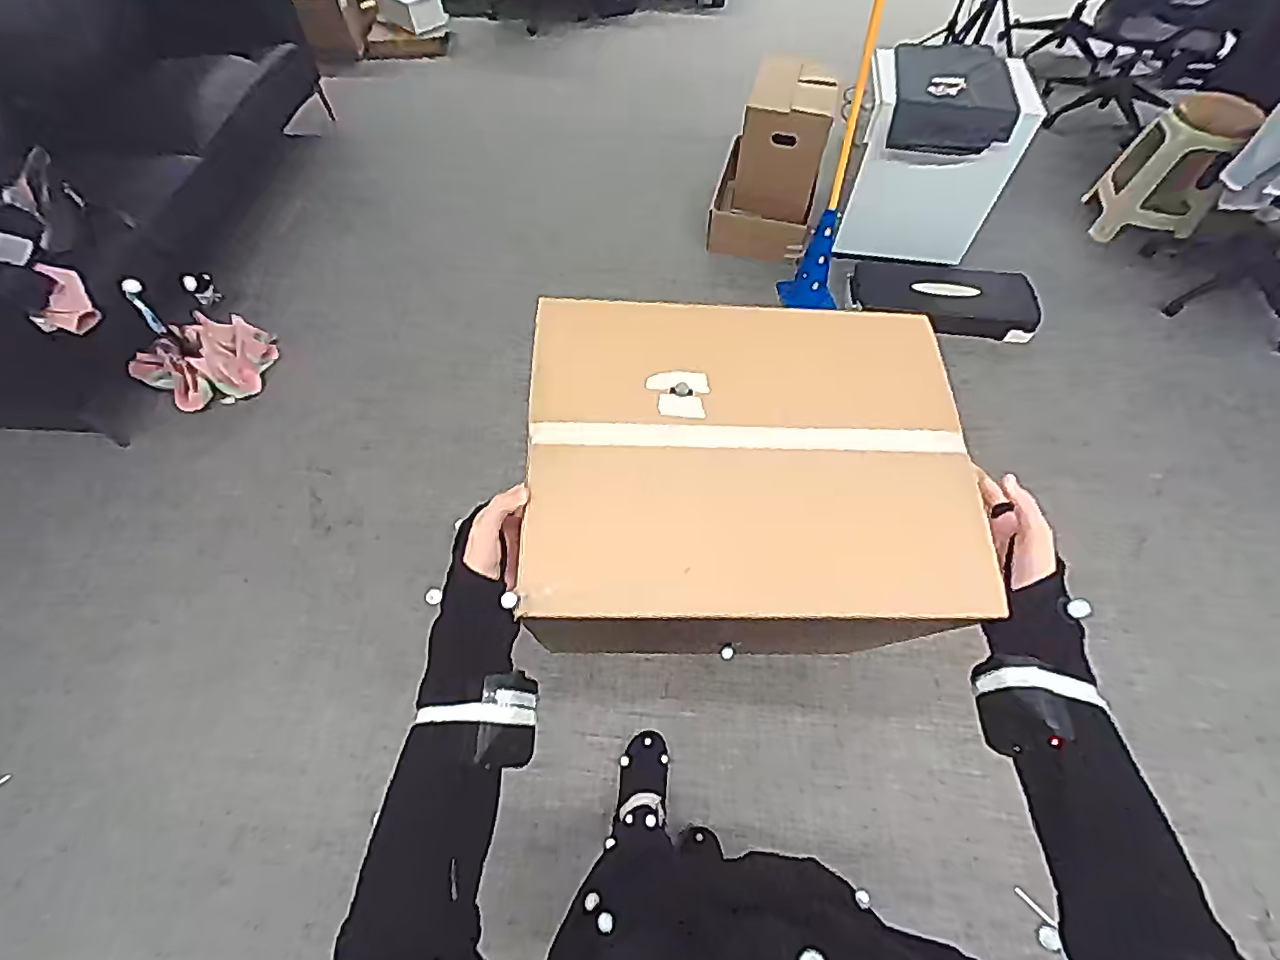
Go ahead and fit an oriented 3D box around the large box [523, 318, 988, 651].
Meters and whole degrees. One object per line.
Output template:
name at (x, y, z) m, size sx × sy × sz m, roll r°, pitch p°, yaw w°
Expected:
large box at (0.093, 0.030, 0.643) m, size 0.408 × 0.320 × 0.320 m, roll 0°, pitch 67°, yaw -3°
